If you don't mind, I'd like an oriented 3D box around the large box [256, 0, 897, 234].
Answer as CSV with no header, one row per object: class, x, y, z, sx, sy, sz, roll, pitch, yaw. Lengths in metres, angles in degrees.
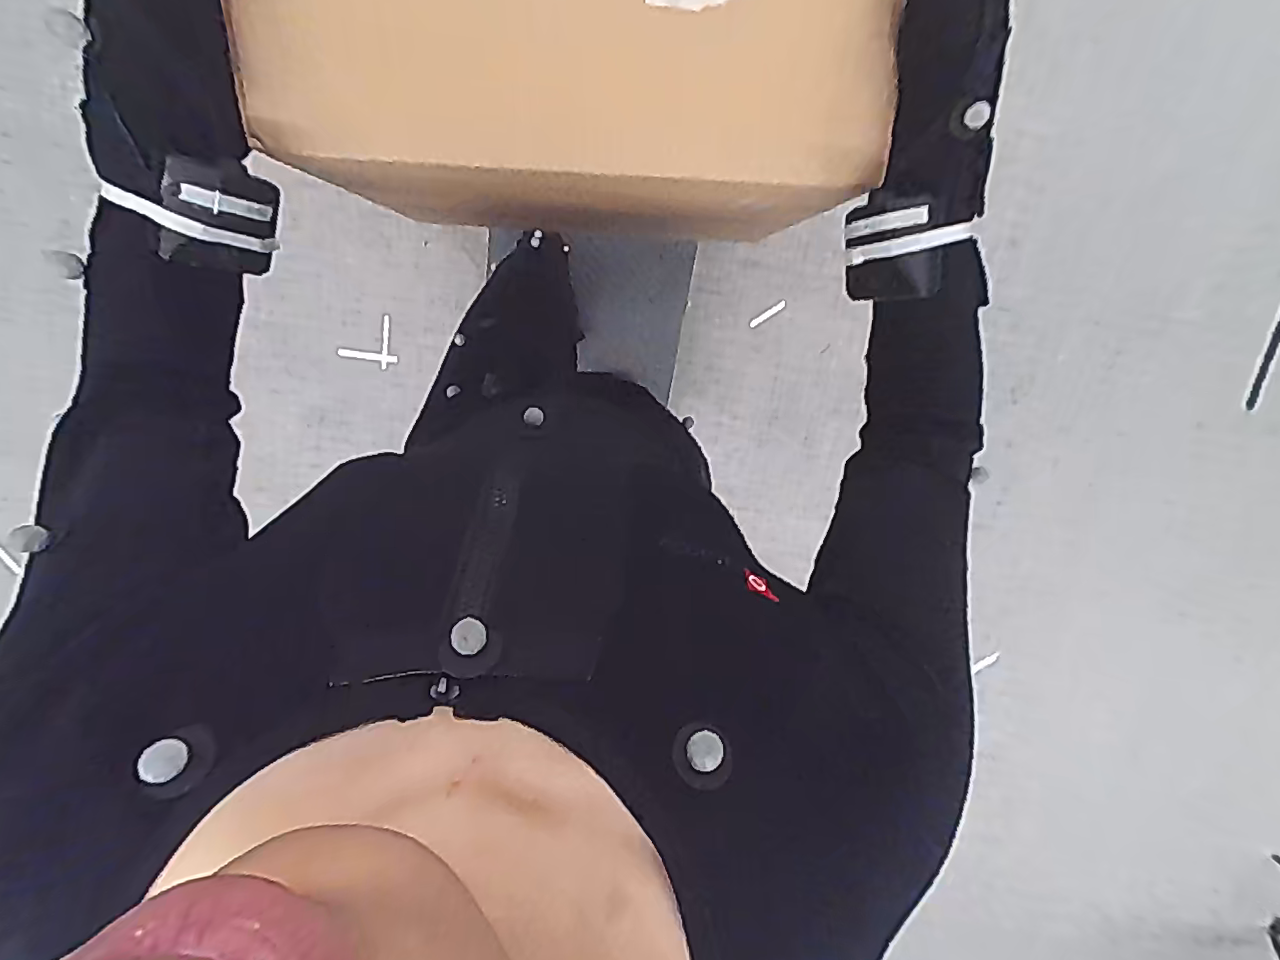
large box,-0.042,-0.403,0.459,0.408,0.320,0.320,1,107,-4
